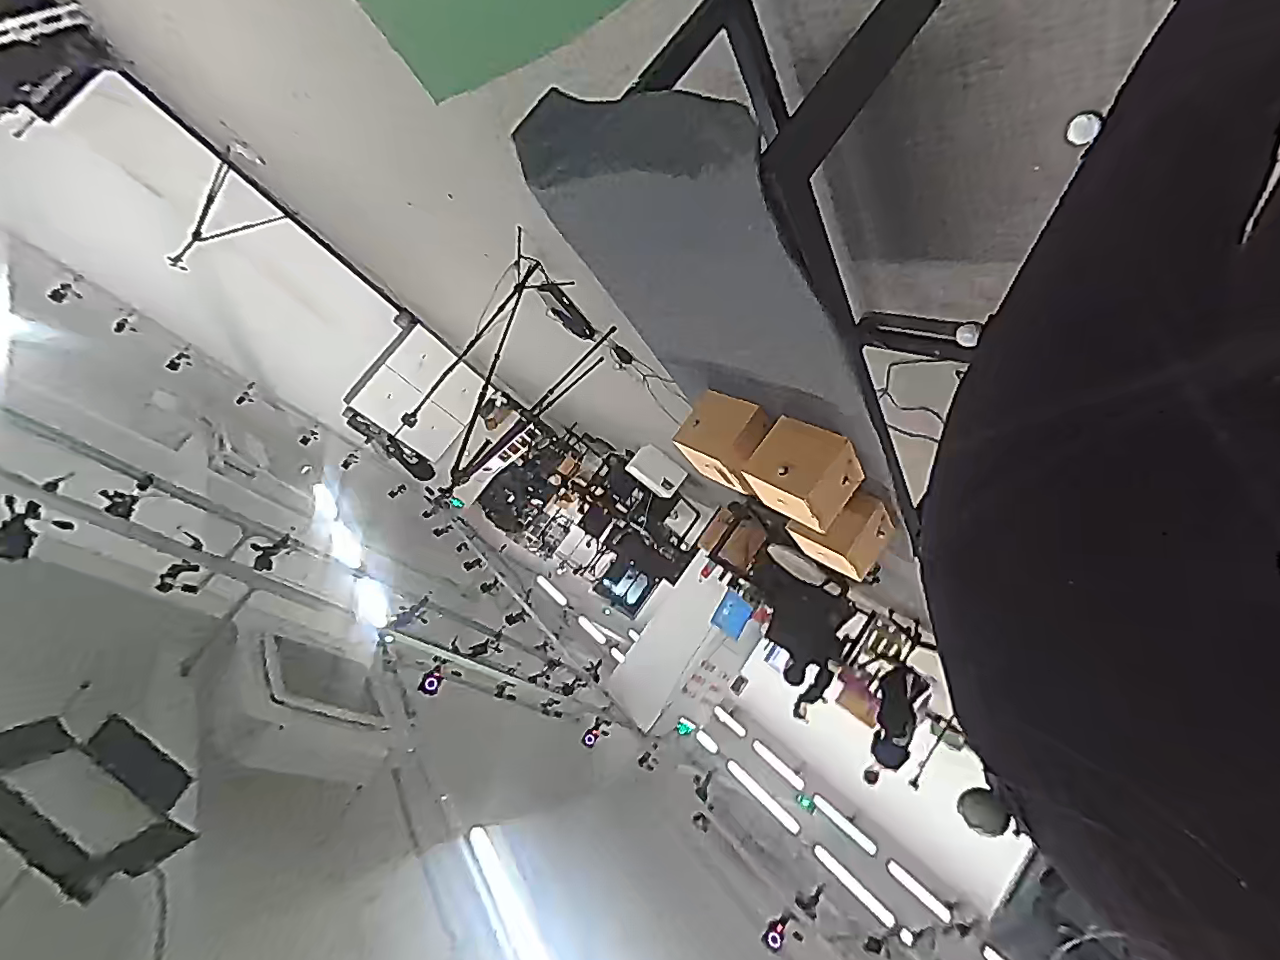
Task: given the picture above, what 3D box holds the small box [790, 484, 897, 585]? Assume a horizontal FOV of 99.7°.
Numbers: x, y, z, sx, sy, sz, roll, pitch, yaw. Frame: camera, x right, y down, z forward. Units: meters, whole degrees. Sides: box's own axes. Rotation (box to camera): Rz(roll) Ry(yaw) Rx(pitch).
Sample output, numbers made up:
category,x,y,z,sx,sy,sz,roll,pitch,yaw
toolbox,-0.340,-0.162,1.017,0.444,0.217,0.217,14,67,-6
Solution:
category,x,y,z,sx,sy,sz,roll,pitch,yaw
small box,0.522,0.133,1.385,0.179,0.176,0.168,28,168,46
